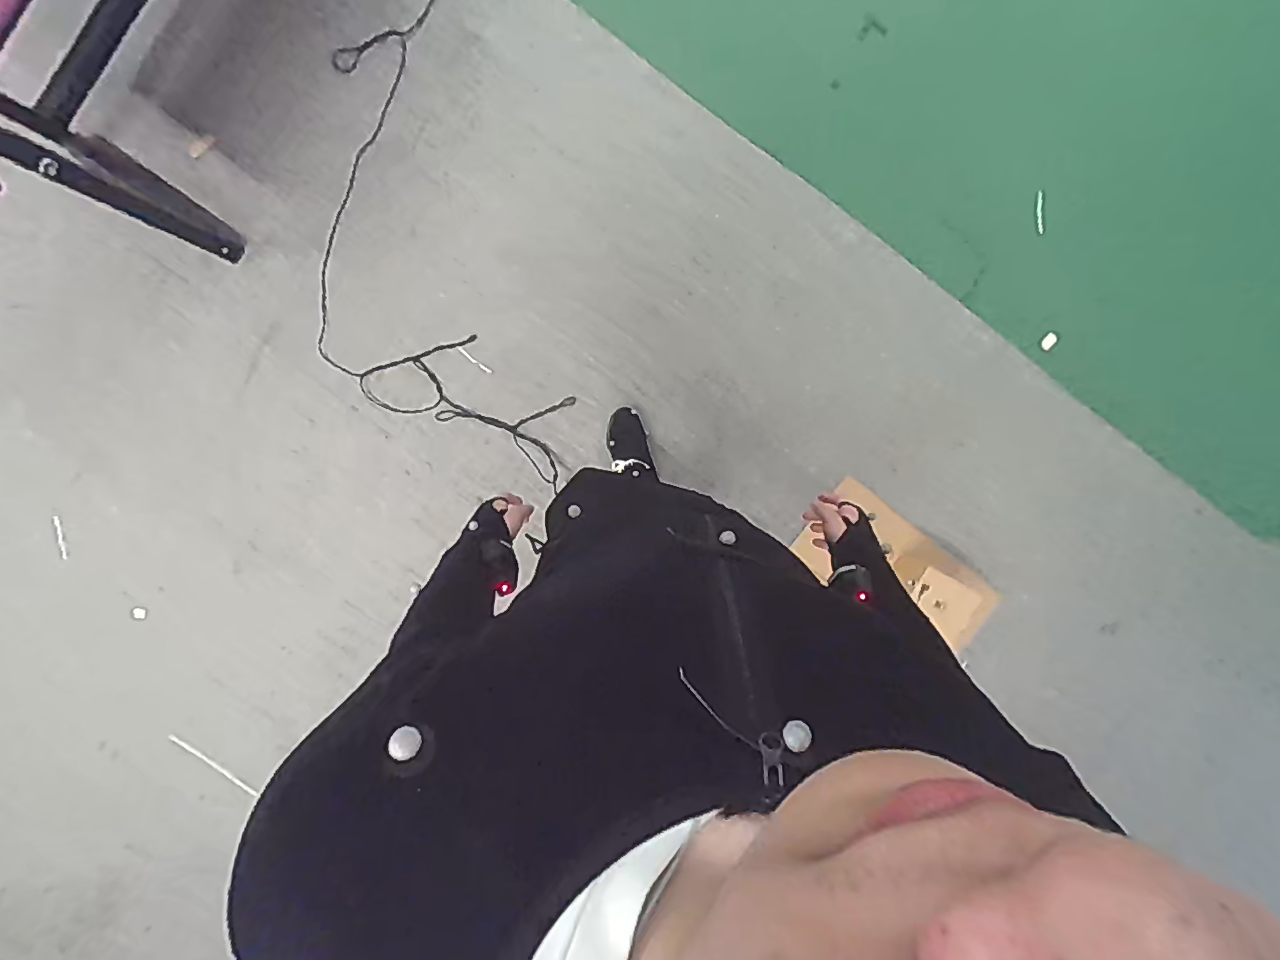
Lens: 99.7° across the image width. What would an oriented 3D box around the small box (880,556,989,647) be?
[{"bbox_3d":[0.825,0.334,1.530,0.179,0.176,0.168,30,94,-1],"label":"small box"}]
